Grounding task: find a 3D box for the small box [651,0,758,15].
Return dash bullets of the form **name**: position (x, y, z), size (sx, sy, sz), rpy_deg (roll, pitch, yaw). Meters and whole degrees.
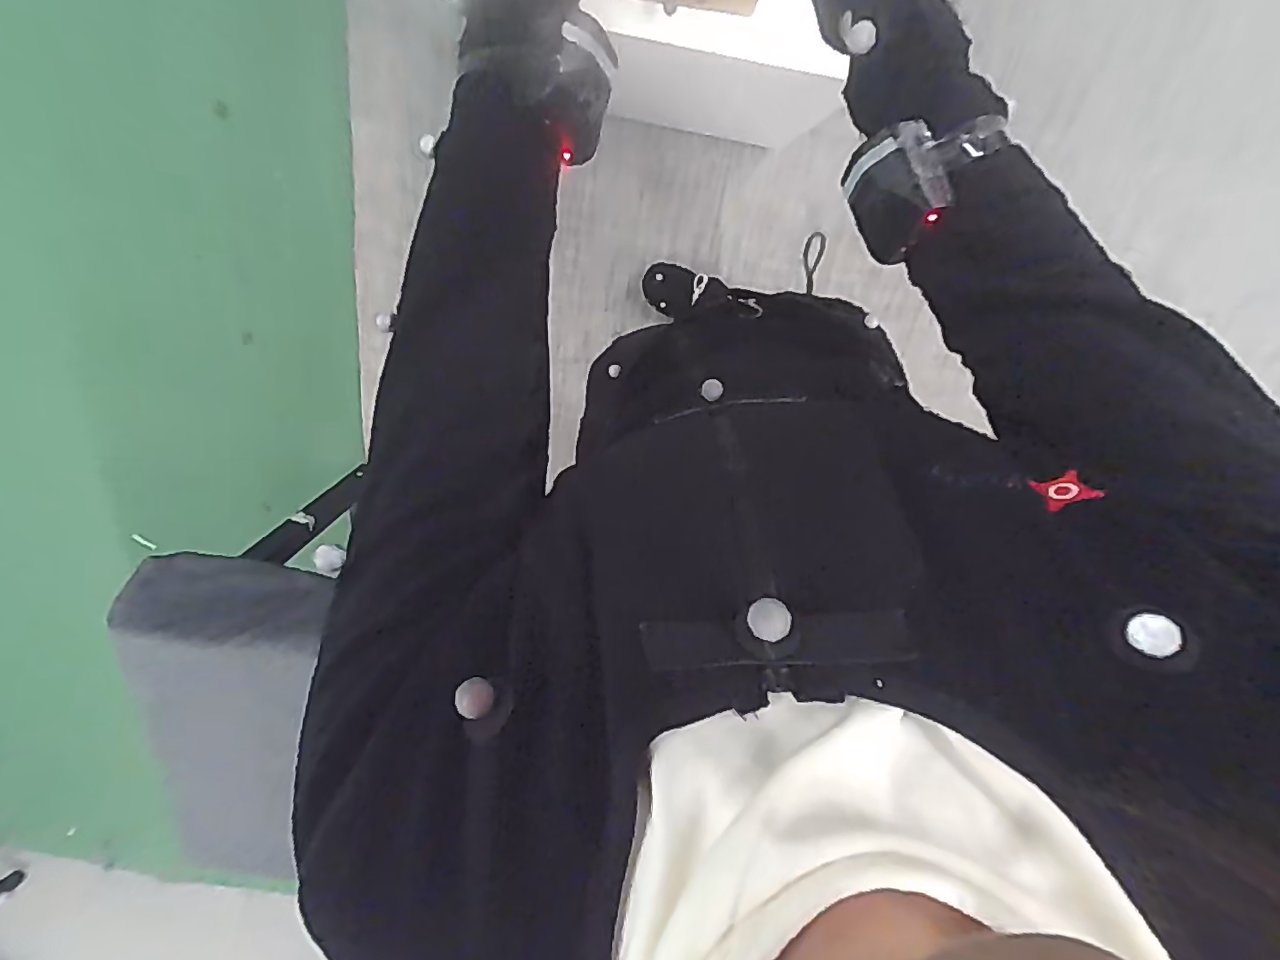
- **small box**: position (0.054, -0.572, 0.492), size (0.168, 0.176, 0.179), rpy_deg (9, 116, 2)
